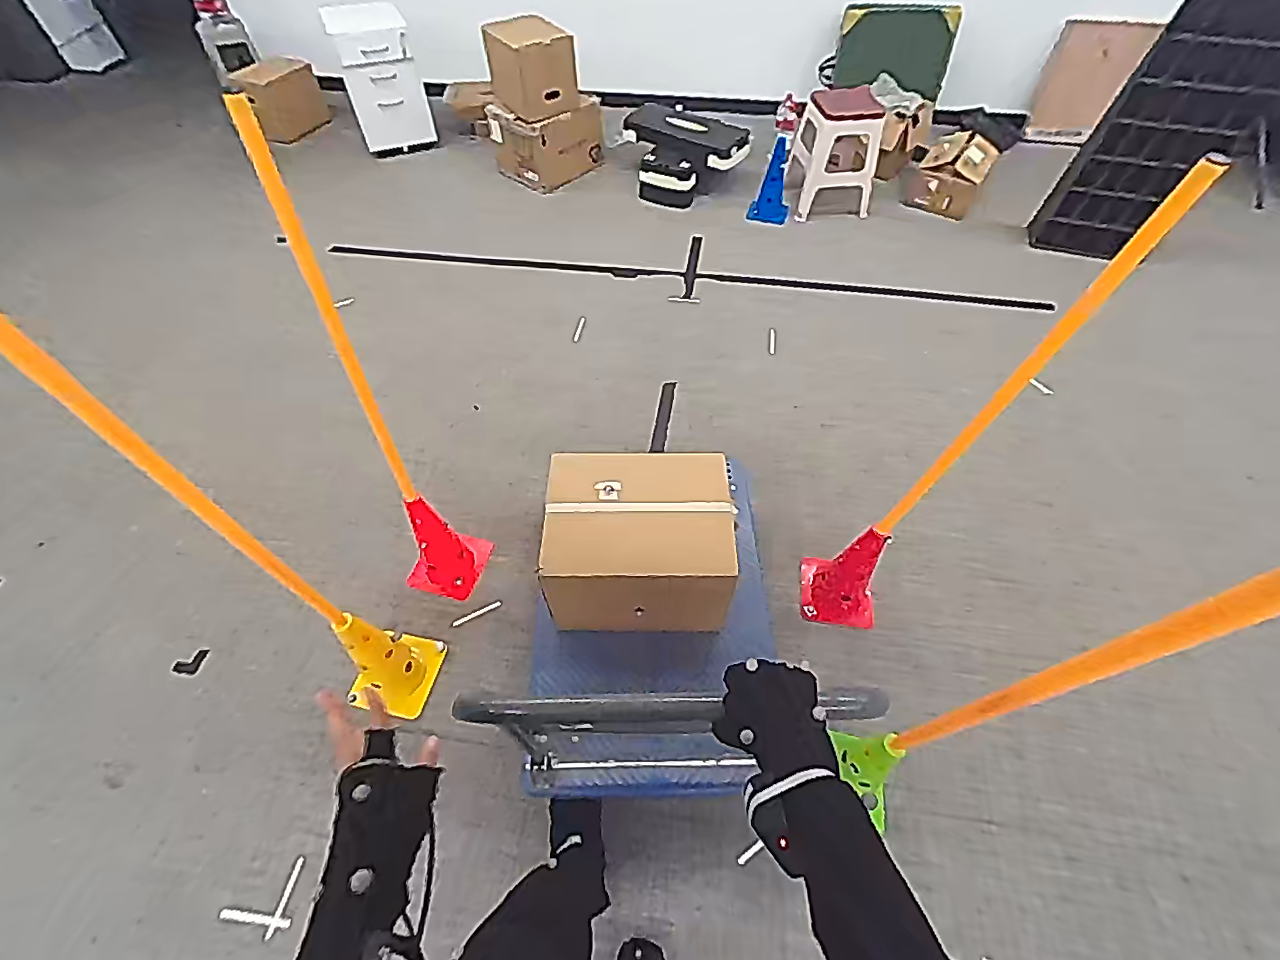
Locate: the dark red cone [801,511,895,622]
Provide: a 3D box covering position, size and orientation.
[{"bbox_3d":[0.568,0.205,1.414,0.201,0.394,0.202,9,54,4],"label":"dark red cone"}]

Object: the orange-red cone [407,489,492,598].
[{"bbox_3d":[-0.563,0.140,1.480,0.198,0.360,0.199,14,53,9],"label":"orange-red cone"}]

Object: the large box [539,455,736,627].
[{"bbox_3d":[-0.003,0.154,1.293,0.408,0.320,0.320,0,54,1],"label":"large box"}]

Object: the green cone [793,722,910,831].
[{"bbox_3d":[0.471,0.598,1.146,0.202,0.368,0.200,11,54,6],"label":"green cone"}]
